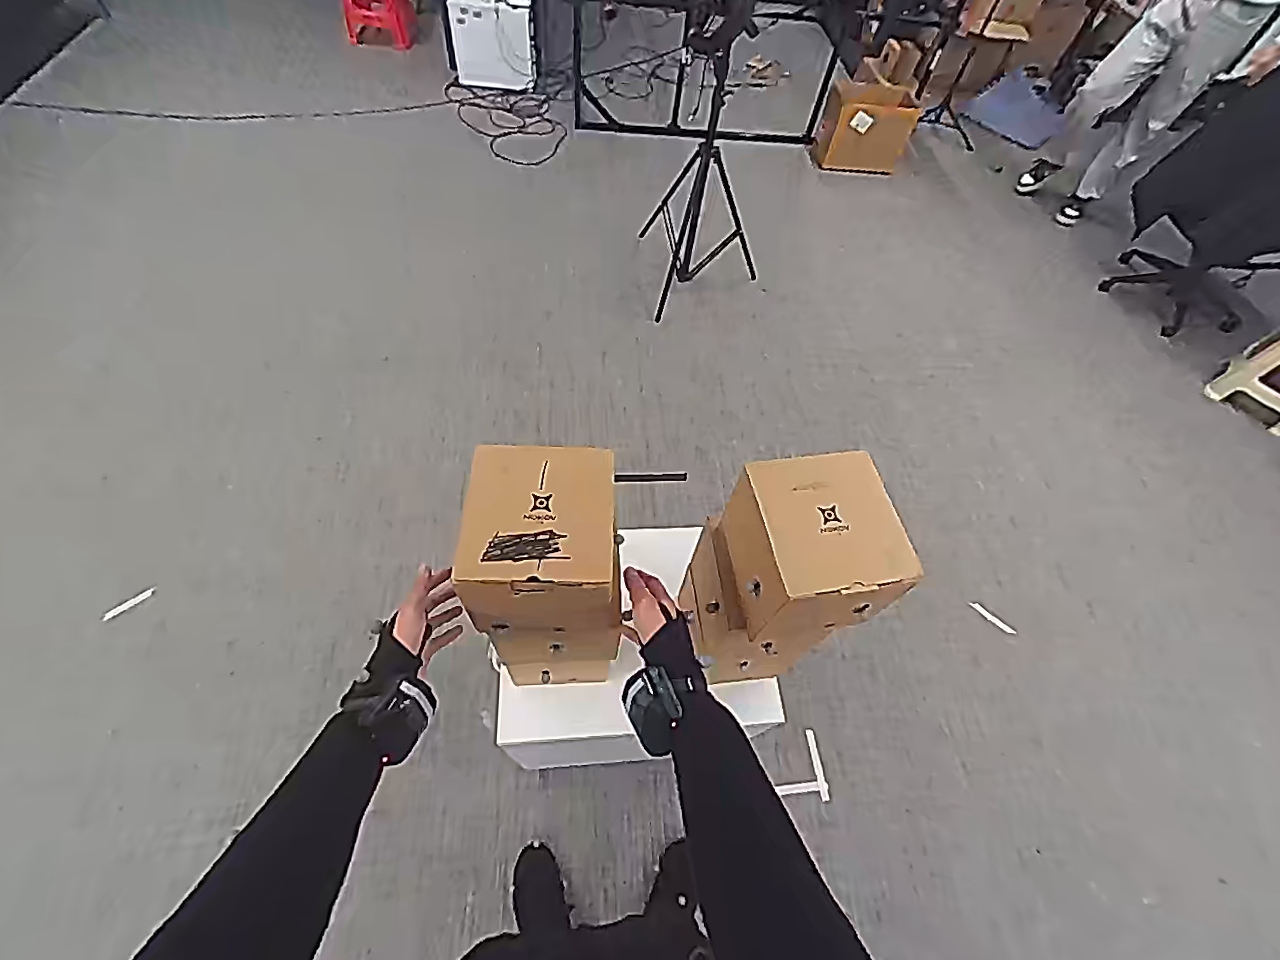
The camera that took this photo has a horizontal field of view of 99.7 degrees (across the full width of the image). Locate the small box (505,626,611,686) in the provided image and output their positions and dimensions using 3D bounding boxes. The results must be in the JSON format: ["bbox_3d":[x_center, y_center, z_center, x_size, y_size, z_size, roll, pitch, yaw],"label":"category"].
[{"bbox_3d":[-0.135,0.253,0.940,0.168,0.176,0.179,0,57,-7],"label":"small box"}]

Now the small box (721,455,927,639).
[{"bbox_3d":[0.214,0.092,0.686,0.168,0.176,0.179,-6,58,-10],"label":"small box"}]

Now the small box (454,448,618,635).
[{"bbox_3d":[-0.113,0.081,0.660,0.168,0.176,0.179,2,56,-4],"label":"small box"}]

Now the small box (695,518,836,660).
[{"bbox_3d":[0.185,0.170,0.828,0.168,0.176,0.179,-3,58,-7],"label":"small box"}]

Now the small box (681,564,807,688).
[{"bbox_3d":[0.172,0.258,0.967,0.168,0.176,0.179,-3,58,-7],"label":"small box"}]
